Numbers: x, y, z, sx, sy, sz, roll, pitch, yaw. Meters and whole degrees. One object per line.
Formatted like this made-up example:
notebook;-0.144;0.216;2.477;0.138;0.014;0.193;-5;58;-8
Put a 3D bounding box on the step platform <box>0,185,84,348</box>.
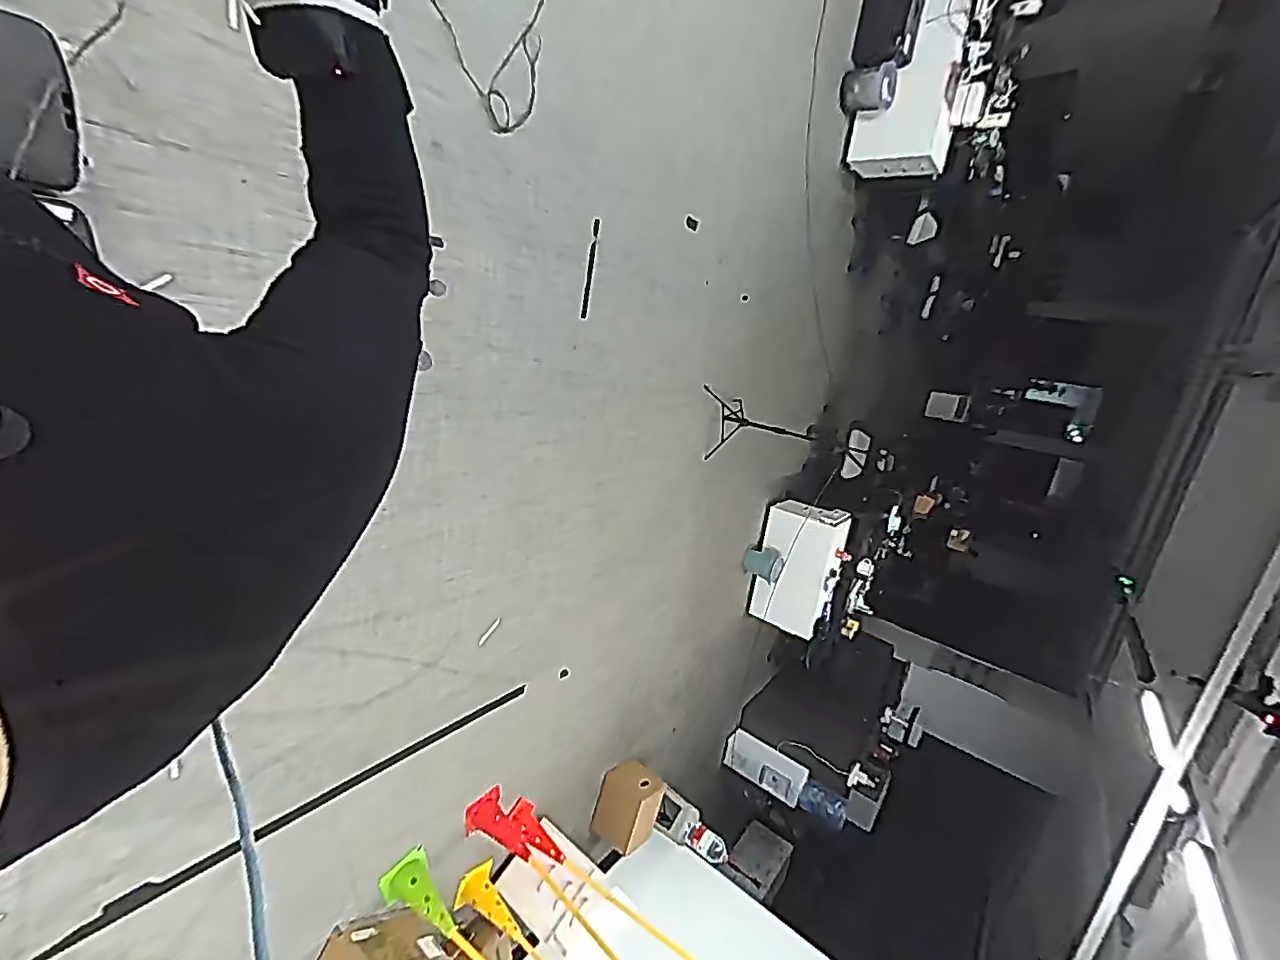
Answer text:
step platform;-1.337;-0.360;0.824;0.684;0.204;0.286;-14;116;-49
